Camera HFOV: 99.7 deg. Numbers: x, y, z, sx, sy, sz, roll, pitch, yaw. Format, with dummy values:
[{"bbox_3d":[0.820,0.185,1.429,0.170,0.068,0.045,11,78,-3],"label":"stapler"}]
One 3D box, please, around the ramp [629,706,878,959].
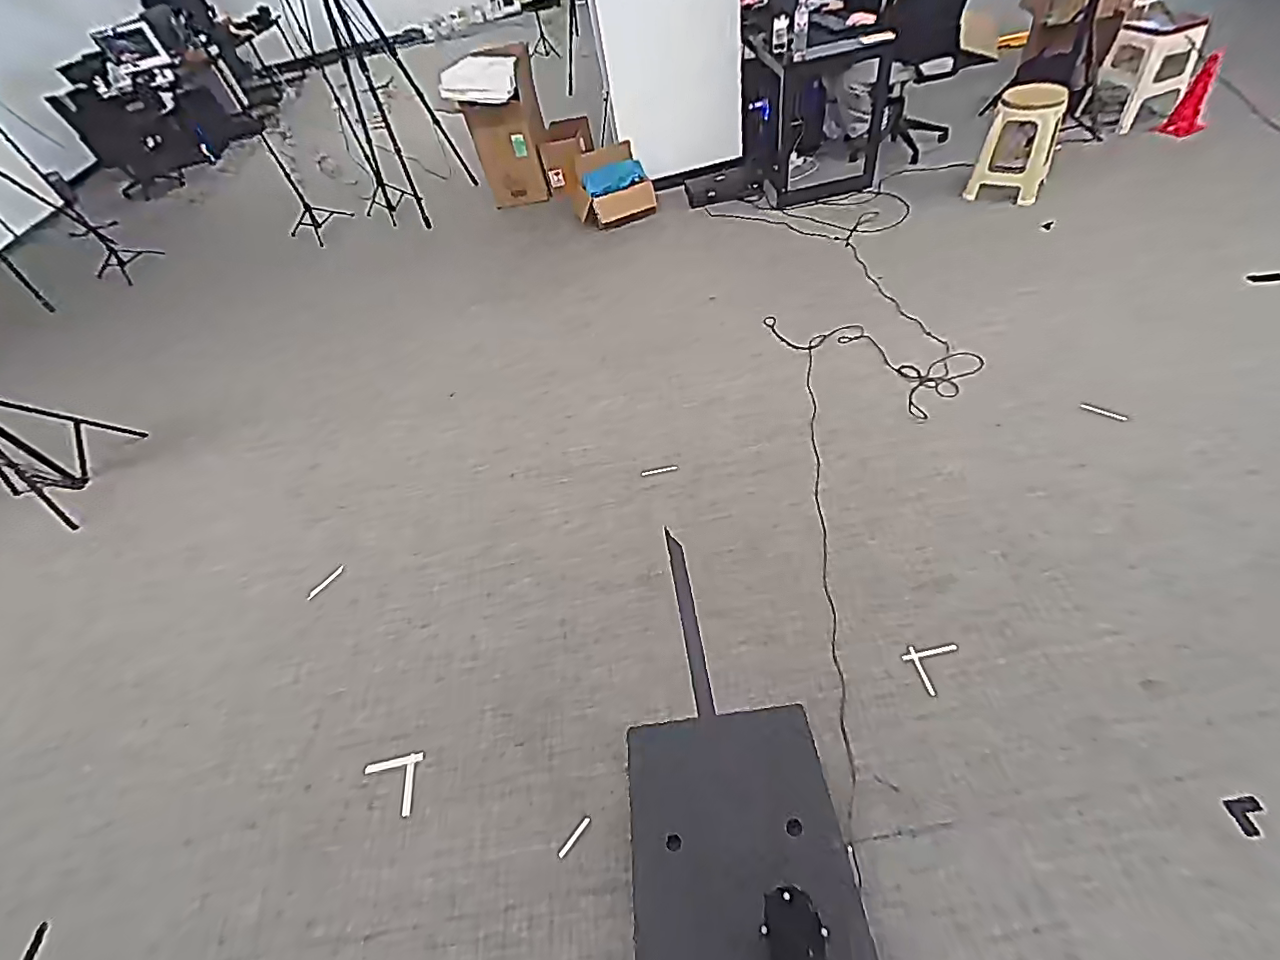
[{"bbox_3d":[0.229,0.971,1.106,0.509,0.206,0.991,-12,48,4],"label":"ramp"}]
